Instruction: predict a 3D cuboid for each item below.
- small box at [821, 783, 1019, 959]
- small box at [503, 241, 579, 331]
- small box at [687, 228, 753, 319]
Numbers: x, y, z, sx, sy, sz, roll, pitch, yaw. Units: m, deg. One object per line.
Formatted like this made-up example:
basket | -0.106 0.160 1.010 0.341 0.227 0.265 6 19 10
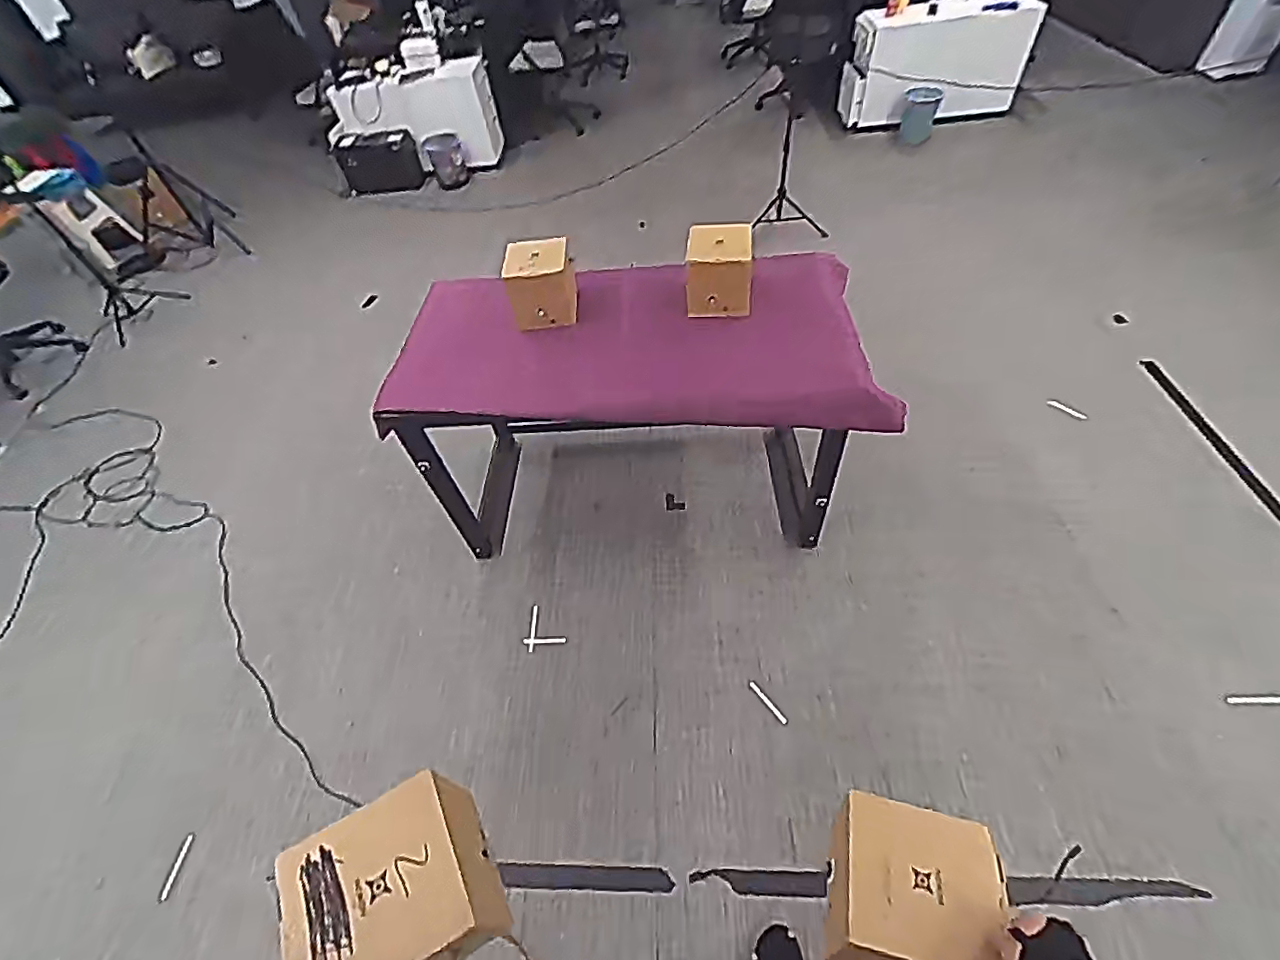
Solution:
small box | 0.340 0.524 0.688 0.179 0.176 0.168 9 43 14
small box | -0.269 -0.540 1.511 0.168 0.176 0.179 -5 52 3
small box | 0.217 -0.560 1.467 0.168 0.176 0.179 2 53 10
